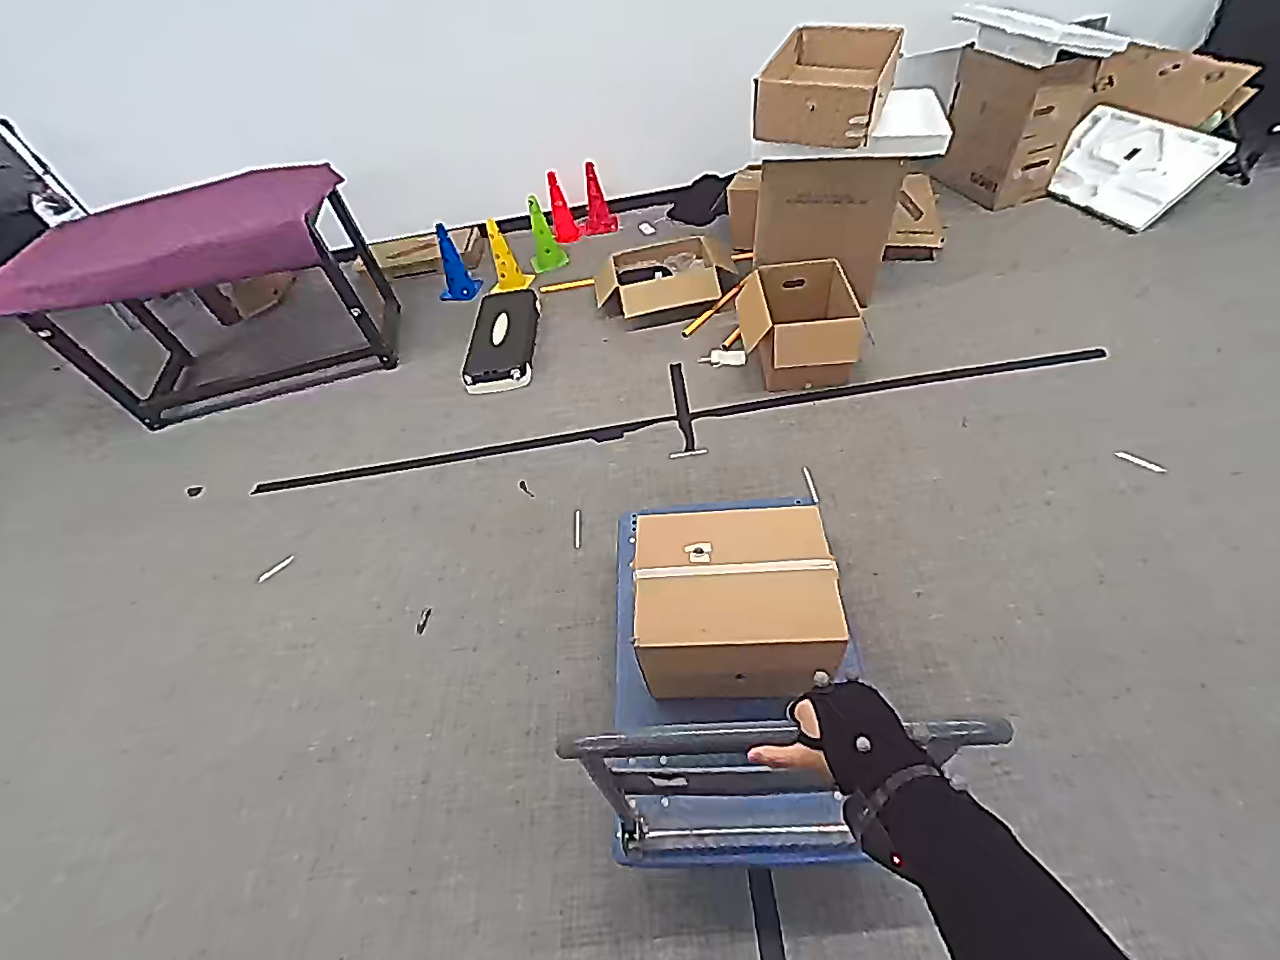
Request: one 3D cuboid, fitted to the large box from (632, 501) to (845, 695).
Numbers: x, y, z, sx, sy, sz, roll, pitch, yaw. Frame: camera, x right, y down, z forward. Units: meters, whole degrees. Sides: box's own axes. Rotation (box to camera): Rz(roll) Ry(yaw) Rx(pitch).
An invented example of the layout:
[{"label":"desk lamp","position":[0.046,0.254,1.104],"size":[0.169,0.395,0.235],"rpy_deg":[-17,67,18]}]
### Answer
[{"label":"large box","position":[0.206,0.275,1.221],"size":[0.408,0.320,0.320],"rpy_deg":[-5,49,7]}]
